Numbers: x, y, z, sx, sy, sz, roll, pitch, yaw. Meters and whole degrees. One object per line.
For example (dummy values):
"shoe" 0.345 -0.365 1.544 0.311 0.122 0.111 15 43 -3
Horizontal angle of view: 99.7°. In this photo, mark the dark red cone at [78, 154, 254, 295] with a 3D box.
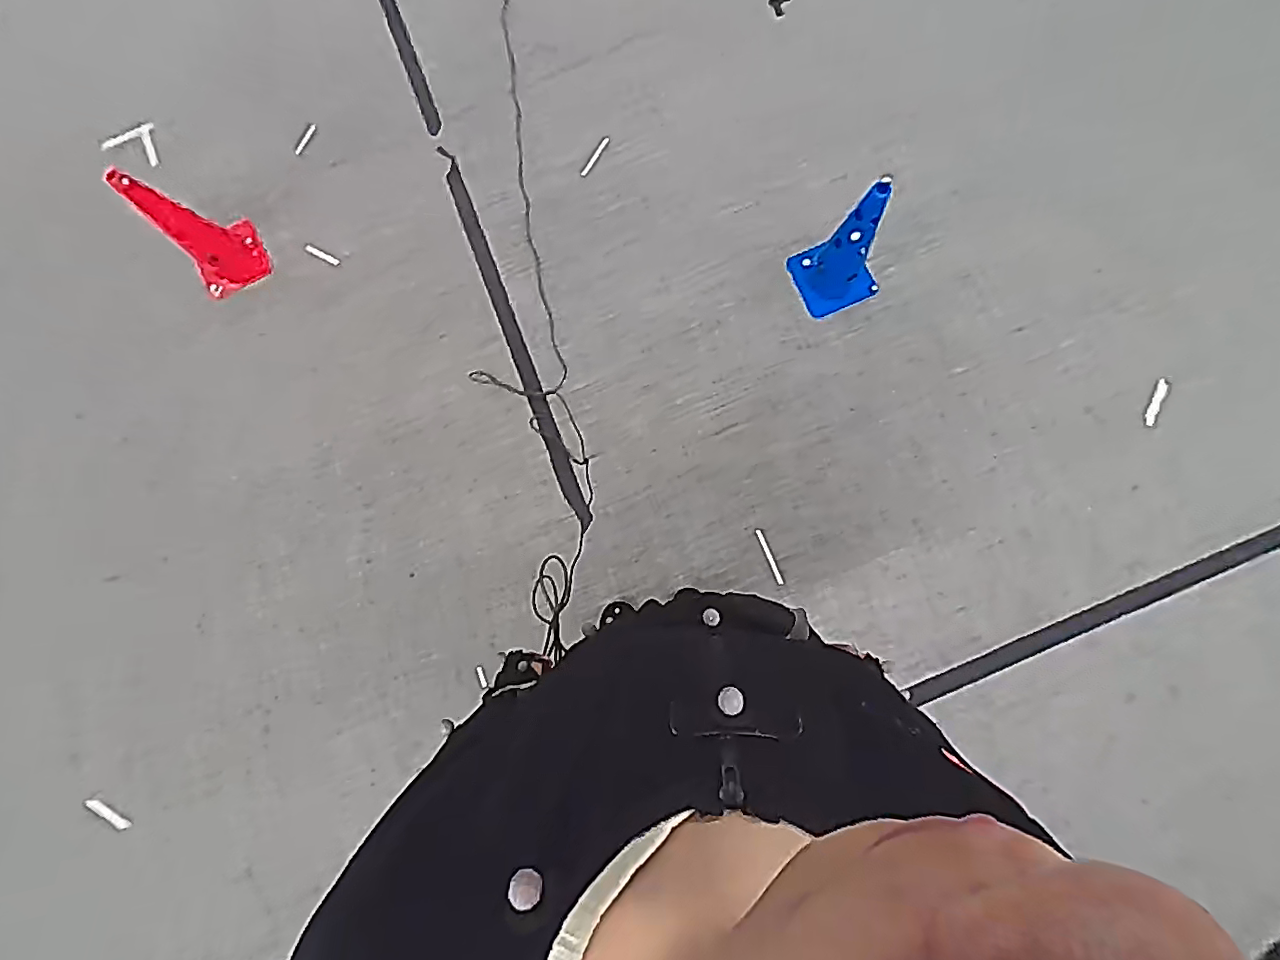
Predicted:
"dark red cone" -1.230 -0.675 1.396 0.201 0.394 0.202 -30 80 -3

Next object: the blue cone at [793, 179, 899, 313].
"blue cone" 0.526 -0.588 1.323 0.192 0.380 0.193 -22 80 -2
